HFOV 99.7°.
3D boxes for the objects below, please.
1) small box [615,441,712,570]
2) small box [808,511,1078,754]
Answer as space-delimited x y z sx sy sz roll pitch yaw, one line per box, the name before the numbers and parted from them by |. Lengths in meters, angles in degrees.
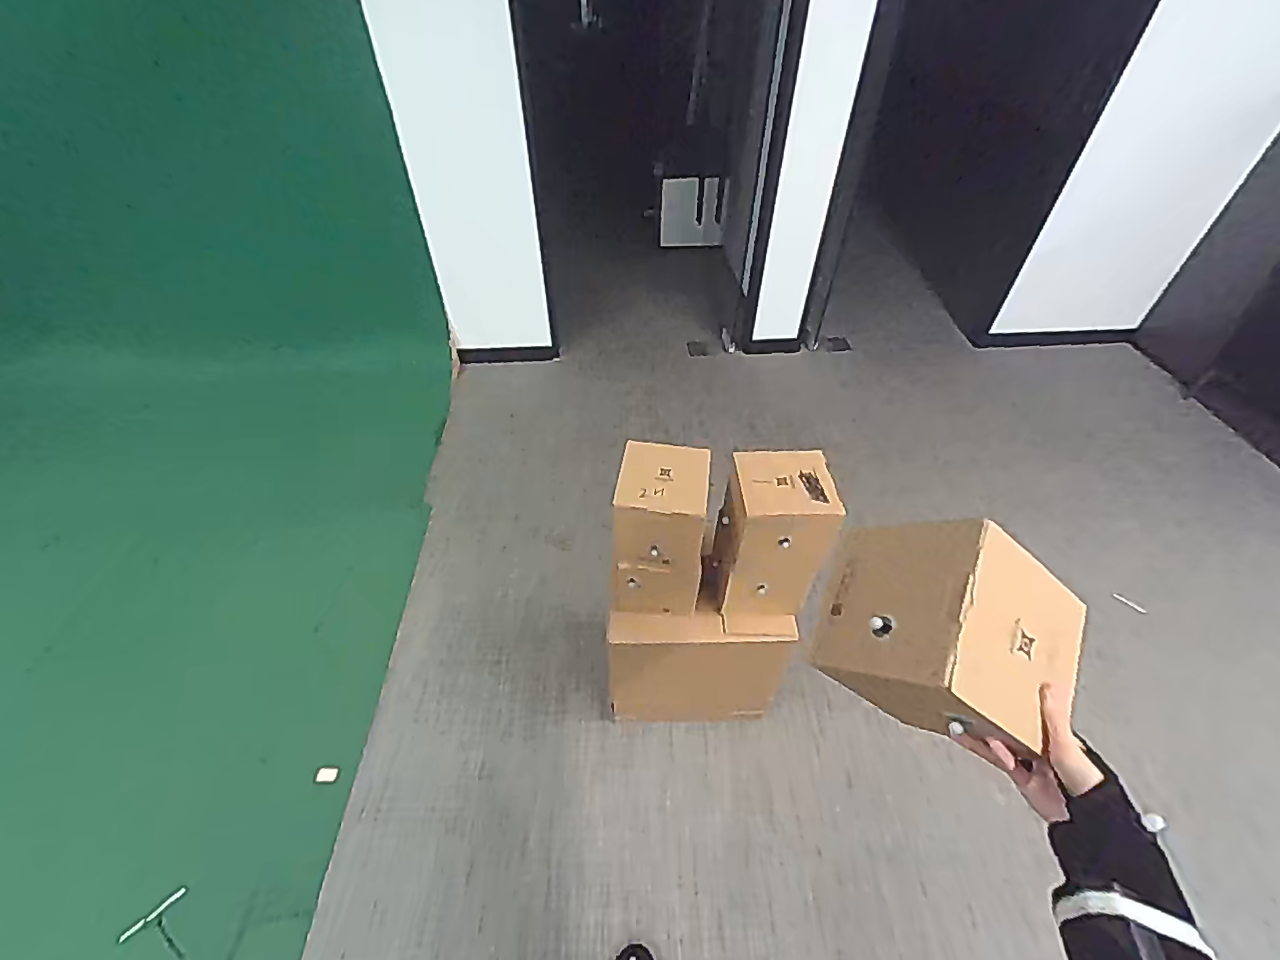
small box | 0.045 0.049 1.053 0.168 0.176 0.179 6 46 5
small box | 0.311 0.154 0.570 0.179 0.176 0.168 34 69 -18
